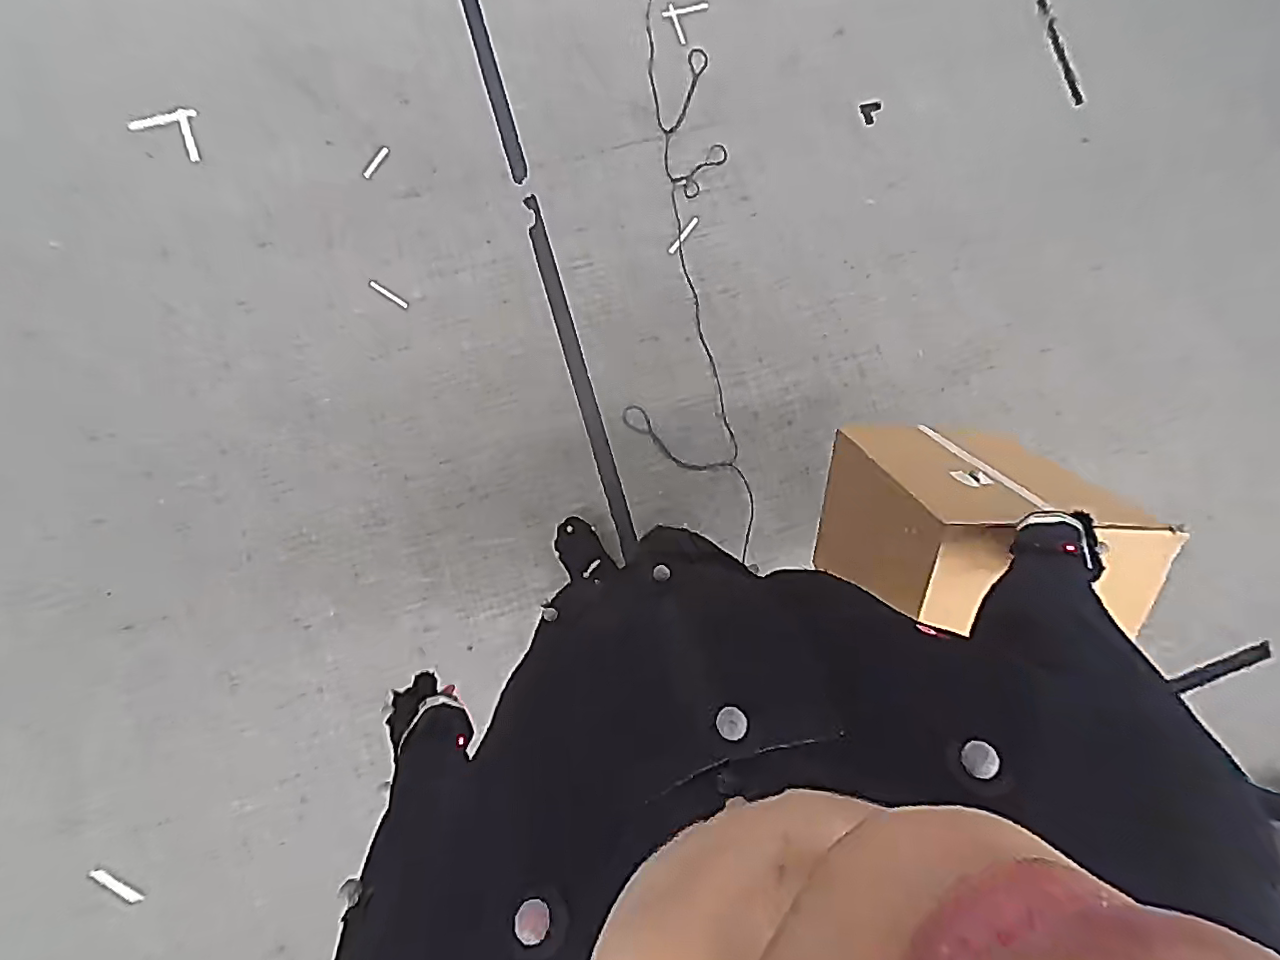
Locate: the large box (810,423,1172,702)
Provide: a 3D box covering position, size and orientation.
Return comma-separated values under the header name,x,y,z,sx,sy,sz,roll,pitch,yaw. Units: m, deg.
name,x,y,z,sx,sy,sz,roll,pitch,yaw
large box,0.530,0.117,0.938,0.320,0.408,0.320,1,115,-2
